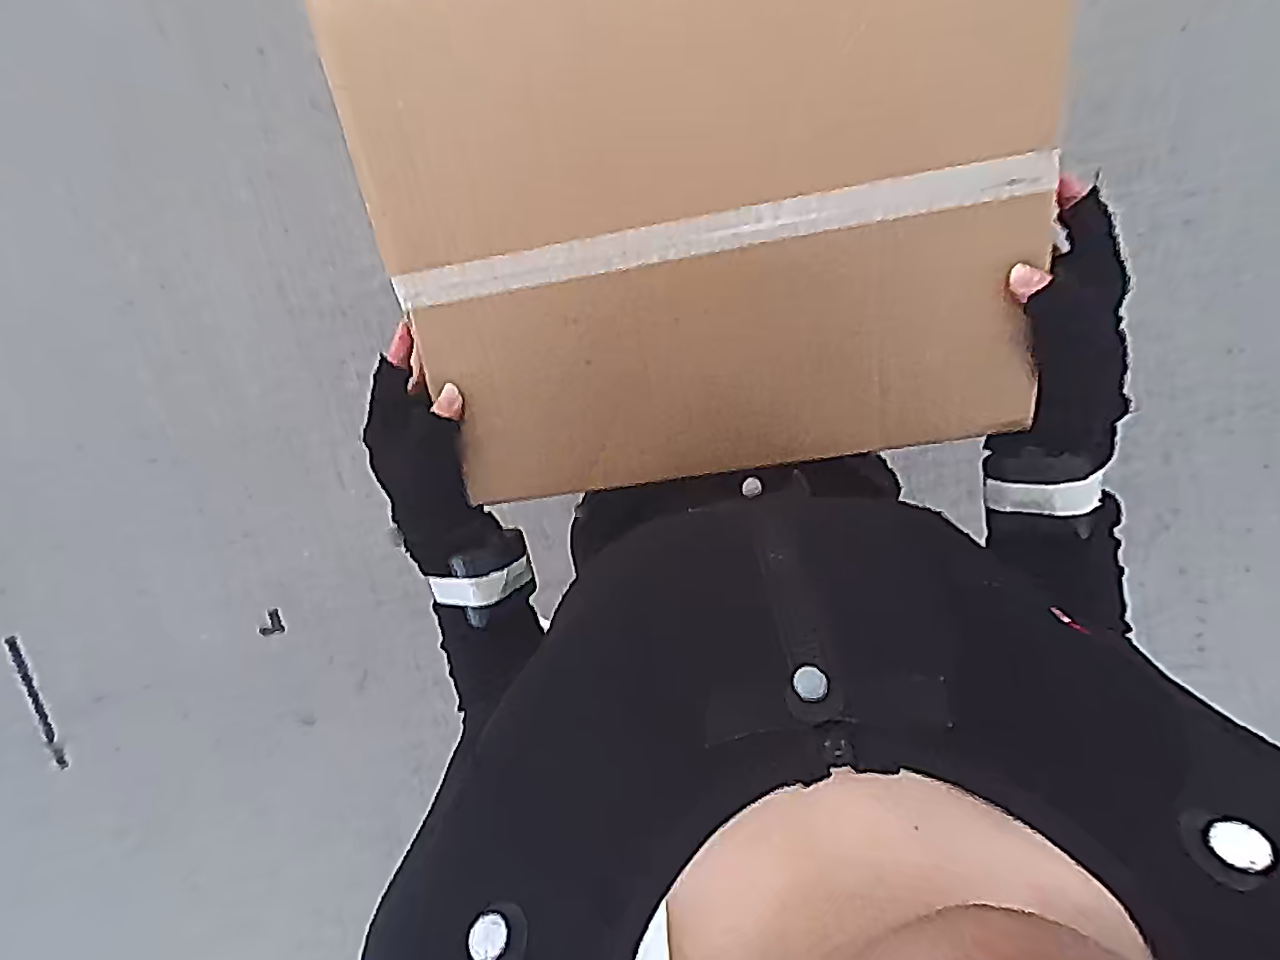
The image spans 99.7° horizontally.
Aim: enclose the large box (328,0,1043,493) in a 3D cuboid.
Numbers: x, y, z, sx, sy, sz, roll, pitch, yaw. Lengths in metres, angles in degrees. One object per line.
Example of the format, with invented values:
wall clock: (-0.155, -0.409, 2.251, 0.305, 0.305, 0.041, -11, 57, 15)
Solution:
large box: (0.042, -0.213, 0.482, 0.408, 0.320, 0.320, -8, 112, 6)
